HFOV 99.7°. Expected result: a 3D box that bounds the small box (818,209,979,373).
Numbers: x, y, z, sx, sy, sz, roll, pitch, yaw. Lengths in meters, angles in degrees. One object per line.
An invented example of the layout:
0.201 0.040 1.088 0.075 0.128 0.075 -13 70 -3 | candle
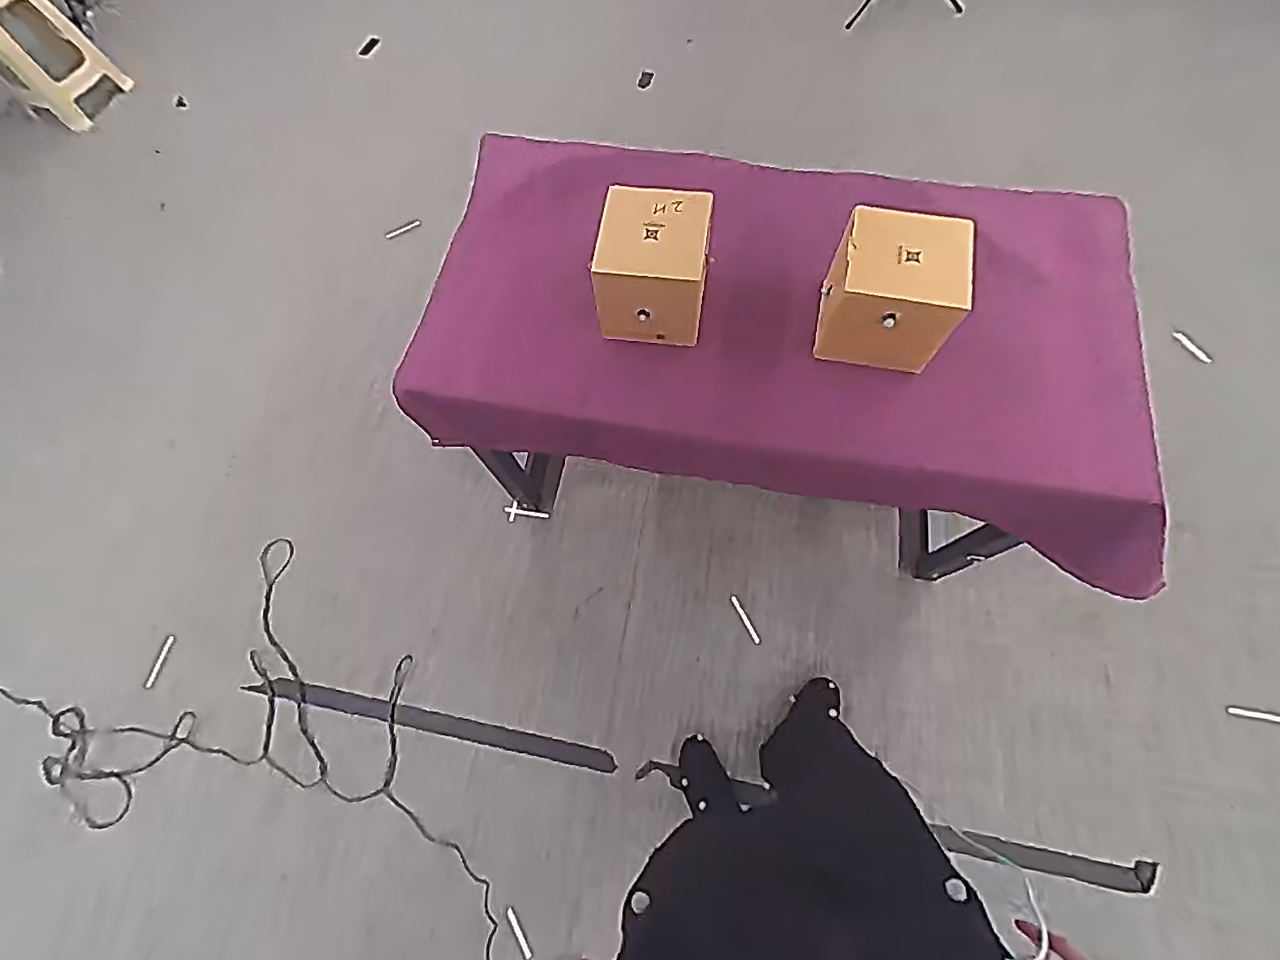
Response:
0.396 -0.288 0.850 0.179 0.176 0.168 11 70 8 | small box

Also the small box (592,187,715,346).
0.027 -0.343 0.888 0.168 0.176 0.179 8 69 6 | small box
